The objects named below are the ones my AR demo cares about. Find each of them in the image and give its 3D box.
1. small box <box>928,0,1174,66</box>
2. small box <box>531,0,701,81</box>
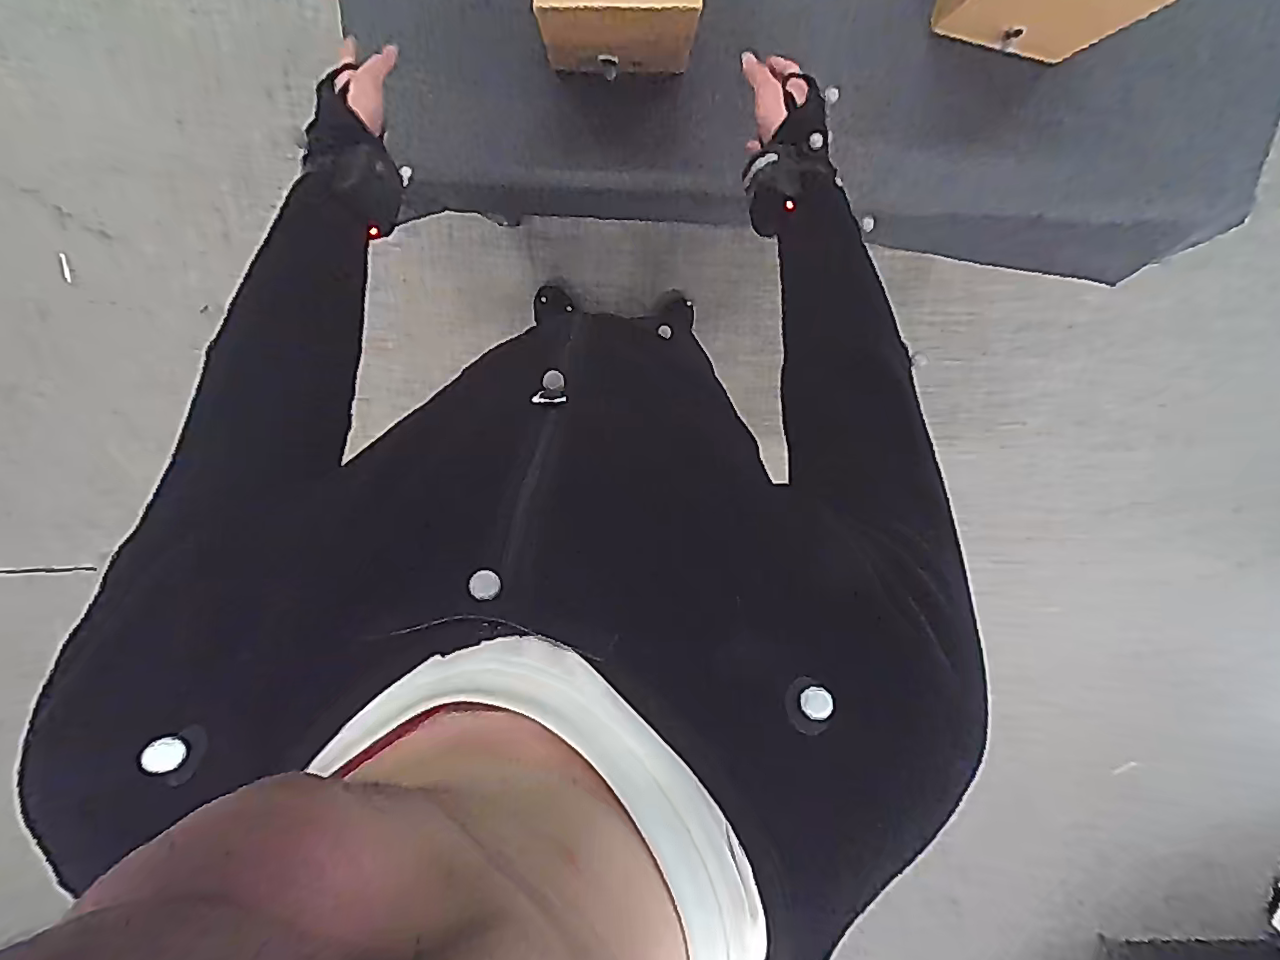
[{"bbox_3d":[0.459,-0.585,0.584,0.179,0.176,0.168,10,109,-6],"label":"small box"},{"bbox_3d":[-0.022,-0.550,0.559,0.168,0.176,0.179,2,110,-1],"label":"small box"}]
